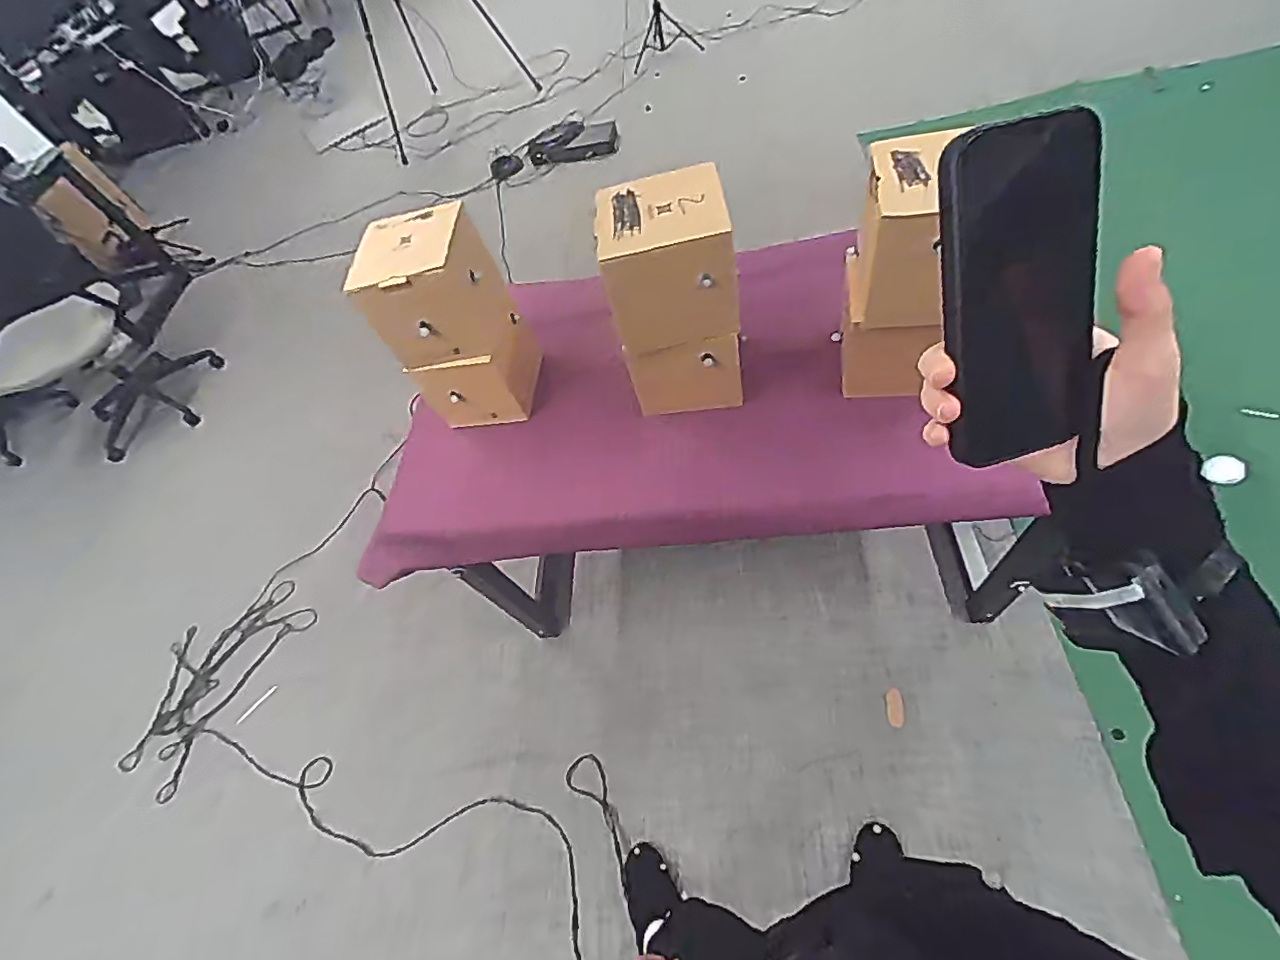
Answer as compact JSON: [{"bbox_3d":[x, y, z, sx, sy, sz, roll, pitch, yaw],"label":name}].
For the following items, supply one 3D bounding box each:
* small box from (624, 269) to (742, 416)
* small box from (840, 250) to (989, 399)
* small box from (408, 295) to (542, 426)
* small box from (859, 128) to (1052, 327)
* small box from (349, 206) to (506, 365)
[{"bbox_3d":[0.081,-0.228,0.923,0.179,0.176,0.168,-5,57,13],"label":"small box"},{"bbox_3d":[0.413,-0.241,0.844,0.179,0.176,0.168,1,58,16],"label":"small box"},{"bbox_3d":[-0.298,-0.215,1.019,0.168,0.176,0.179,-4,57,13],"label":"small box"},{"bbox_3d":[0.384,-0.315,0.700,0.179,0.176,0.168,1,58,15],"label":"small box"},{"bbox_3d":[-0.334,-0.308,0.888,0.168,0.176,0.179,-8,57,9],"label":"small box"}]
